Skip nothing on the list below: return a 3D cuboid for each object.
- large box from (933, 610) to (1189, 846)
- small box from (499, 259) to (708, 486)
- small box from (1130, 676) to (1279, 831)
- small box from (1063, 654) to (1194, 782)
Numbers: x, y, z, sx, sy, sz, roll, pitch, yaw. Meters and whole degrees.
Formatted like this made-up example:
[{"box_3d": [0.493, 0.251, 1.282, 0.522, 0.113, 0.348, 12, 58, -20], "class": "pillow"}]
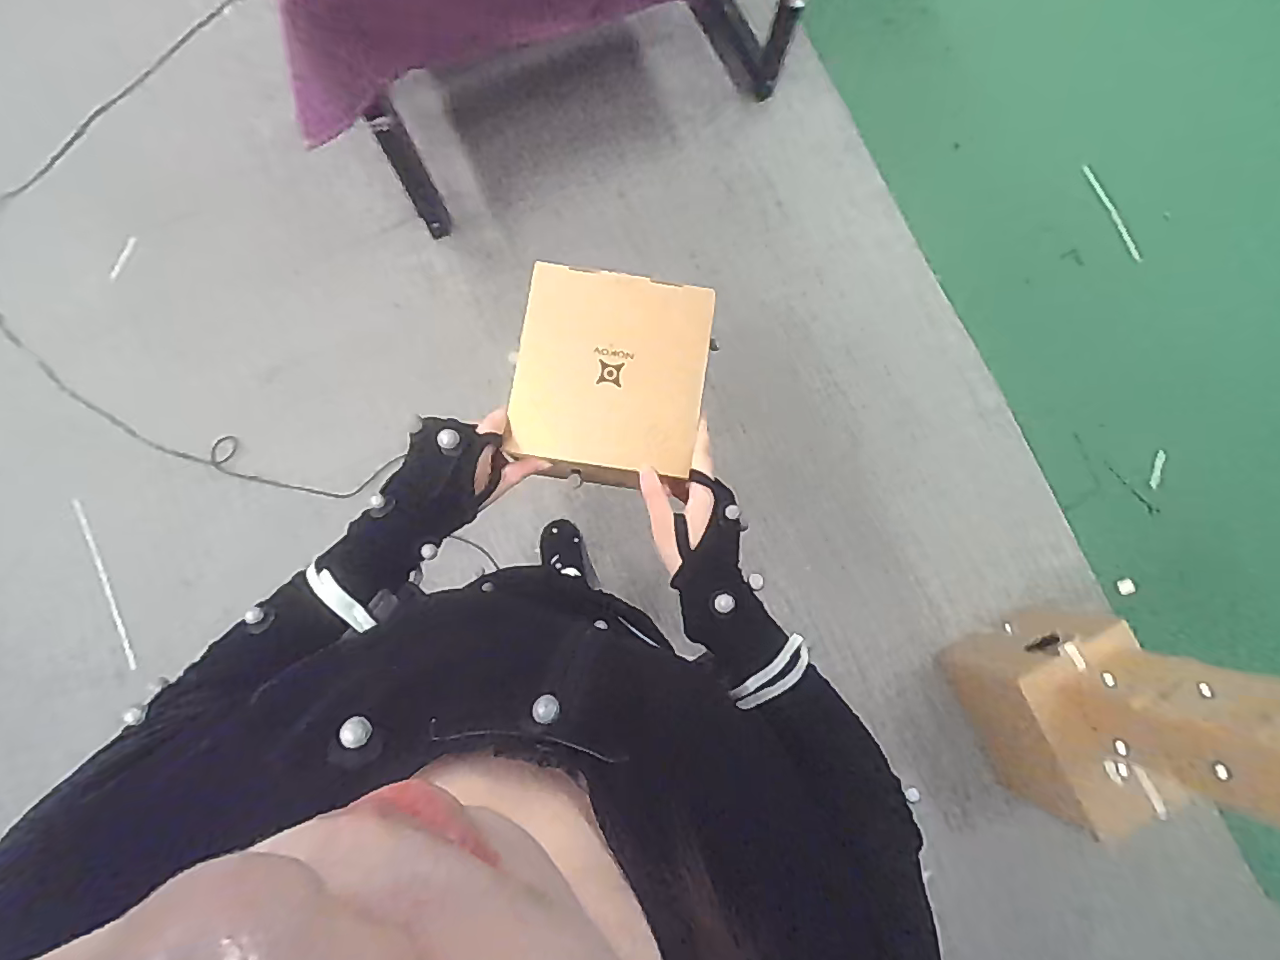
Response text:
[{"box_3d": [1.052, 0.594, 1.381, 0.320, 0.320, 0.408, -24, 86, -6], "class": "large box"}, {"box_3d": [-0.033, -0.093, 0.554, 0.168, 0.176, 0.179, 8, 83, -2], "class": "small box"}, {"box_3d": [1.068, 0.478, 0.985, 0.168, 0.176, 0.179, -30, 87, -7], "class": "small box"}, {"box_3d": [1.054, 0.493, 1.148, 0.179, 0.176, 0.168, -25, 86, -8], "class": "small box"}]
